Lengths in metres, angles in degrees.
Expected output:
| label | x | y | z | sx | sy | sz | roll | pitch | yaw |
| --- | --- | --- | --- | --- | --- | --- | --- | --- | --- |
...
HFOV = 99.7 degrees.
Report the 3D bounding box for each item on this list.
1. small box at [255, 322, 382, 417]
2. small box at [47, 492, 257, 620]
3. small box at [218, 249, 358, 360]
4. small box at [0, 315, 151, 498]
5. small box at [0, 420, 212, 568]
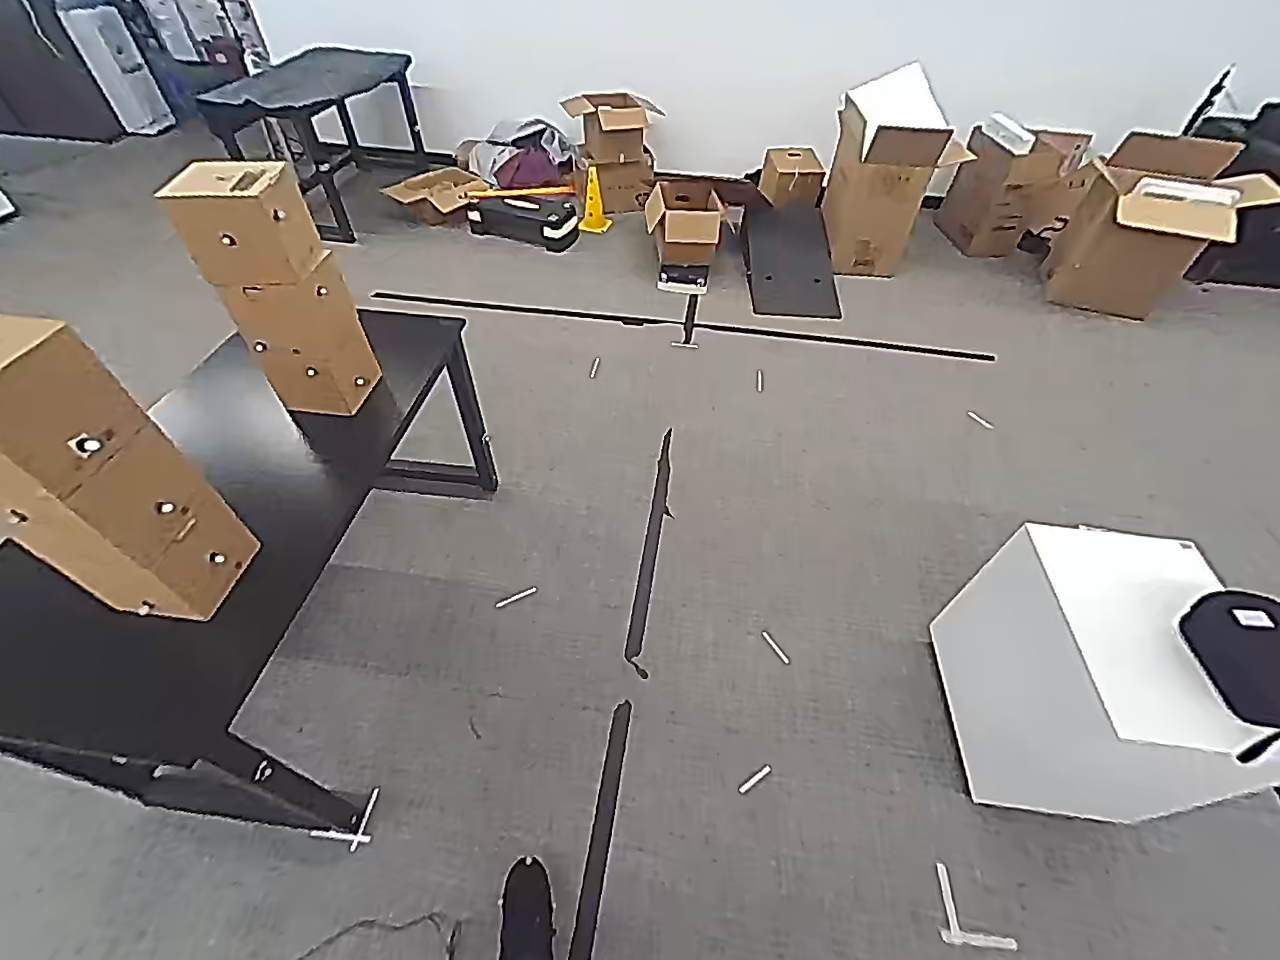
| label | x | y | z | sx | sy | sz | roll | pitch | yaw |
| --- | --- | --- | --- | --- | --- | --- | --- | --- | --- |
| small box | -0.757 | -0.269 | 1.295 | 0.179 | 0.176 | 0.168 | 6 | 48 | 3 |
| small box | -0.821 | 0.126 | 0.938 | 0.179 | 0.176 | 0.168 | 6 | 48 | 2 |
| small box | -0.746 | -0.378 | 1.173 | 0.168 | 0.176 | 0.179 | 4 | 48 | 1 |
| small box | -0.811 | -0.093 | 0.695 | 0.179 | 0.176 | 0.168 | 6 | 49 | 3 |
| small box | -0.817 | 0.016 | 0.815 | 0.179 | 0.176 | 0.168 | 6 | 49 | 3 |
